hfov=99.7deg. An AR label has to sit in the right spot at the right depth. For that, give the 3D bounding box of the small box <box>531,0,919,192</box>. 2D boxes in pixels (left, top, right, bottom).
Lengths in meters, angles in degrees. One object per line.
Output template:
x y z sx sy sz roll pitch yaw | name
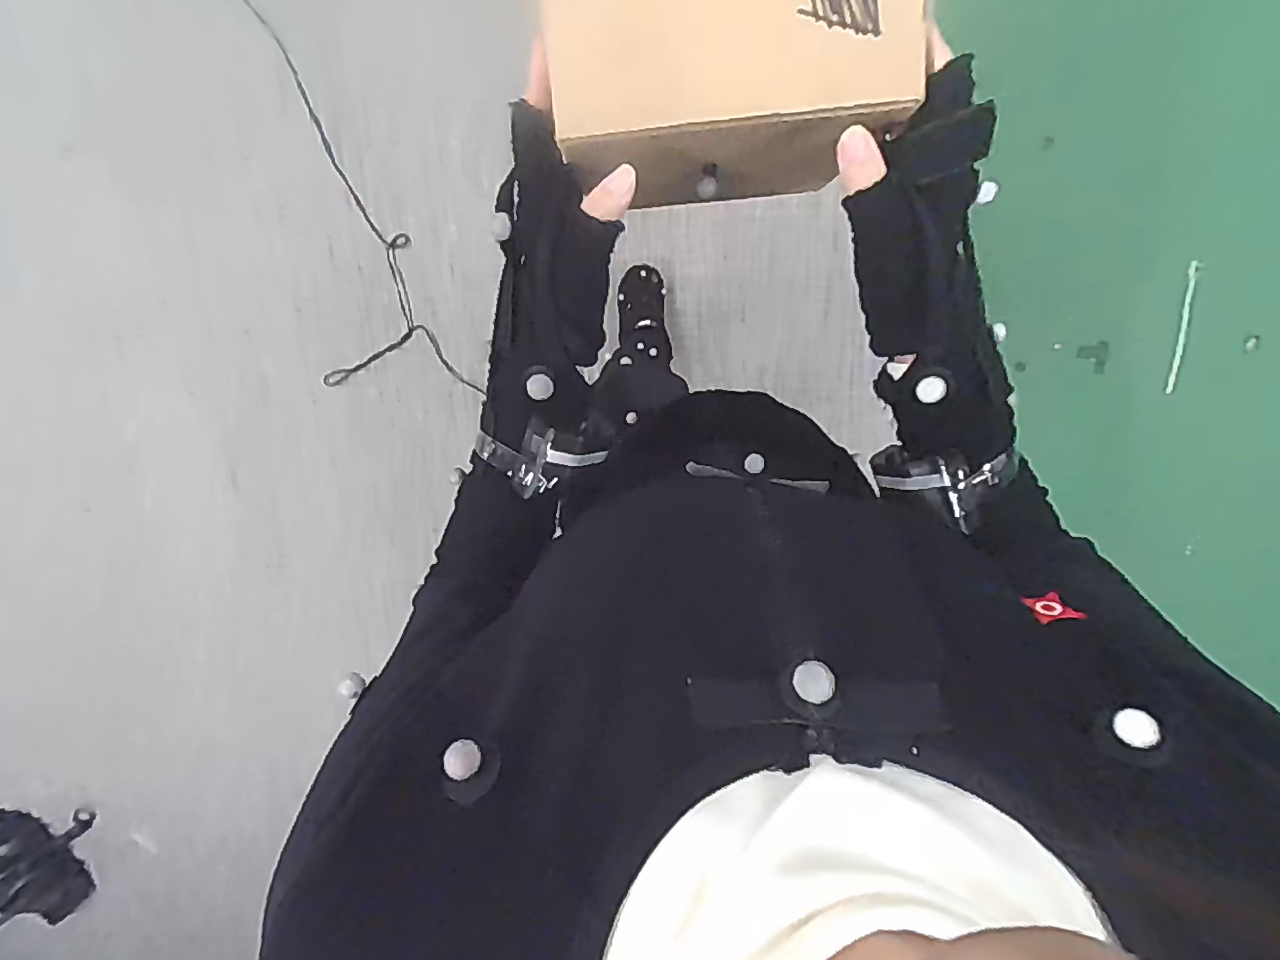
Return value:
0.037 -0.277 0.307 0.179 0.176 0.168 -4 106 5 | small box
